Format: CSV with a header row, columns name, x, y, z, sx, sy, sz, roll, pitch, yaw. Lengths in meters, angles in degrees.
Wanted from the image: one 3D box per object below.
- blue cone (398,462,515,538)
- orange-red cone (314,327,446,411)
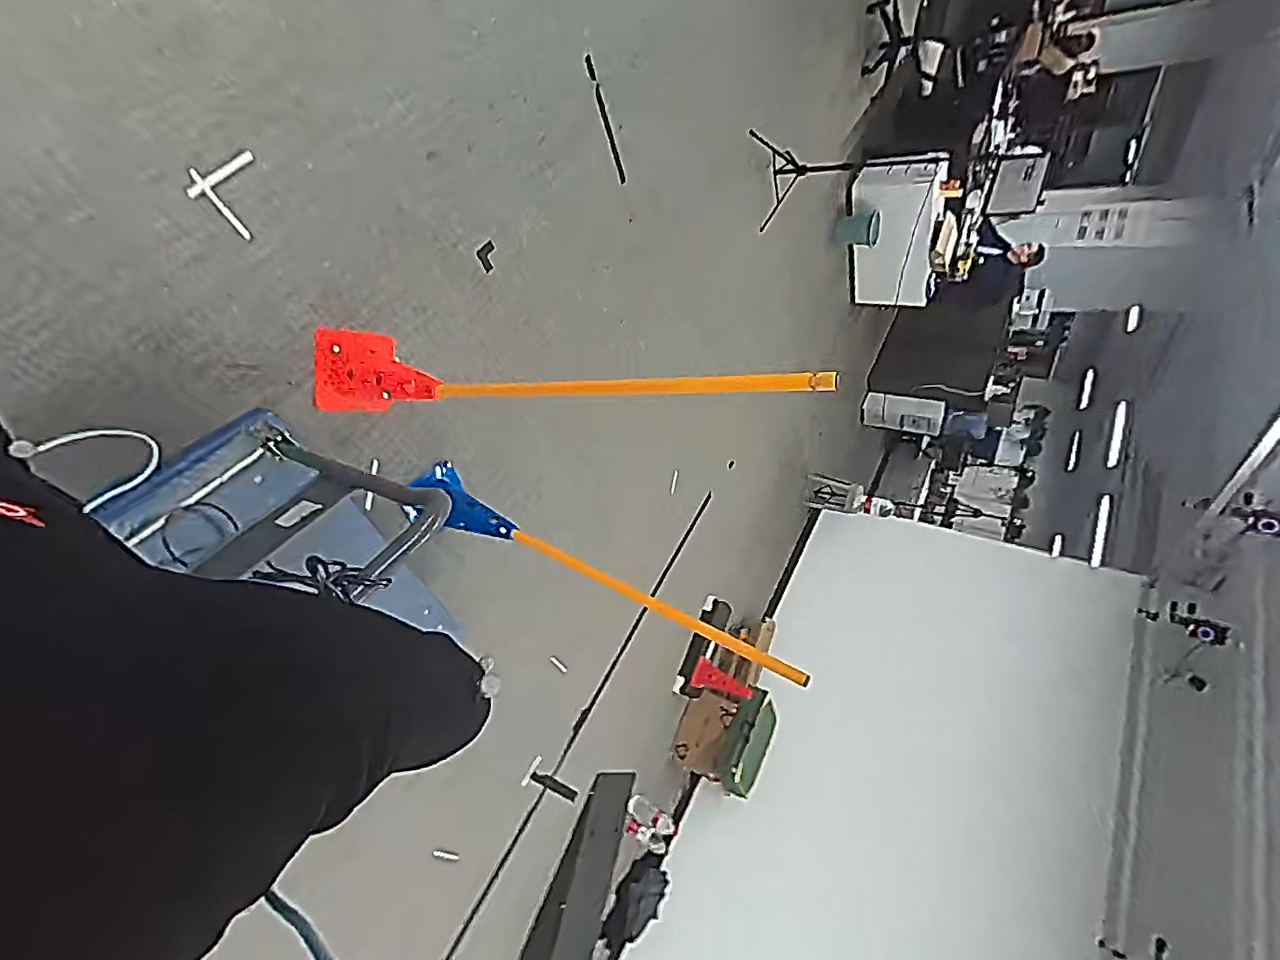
name,x,y,z,sx,sy,sz,roll,pitch,yaw
blue cone,-0.495,0.098,1.551,0.193,0.380,0.192,-45,136,-38
orange-red cone,-0.576,-0.232,1.266,0.198,0.360,0.199,-7,110,-55
